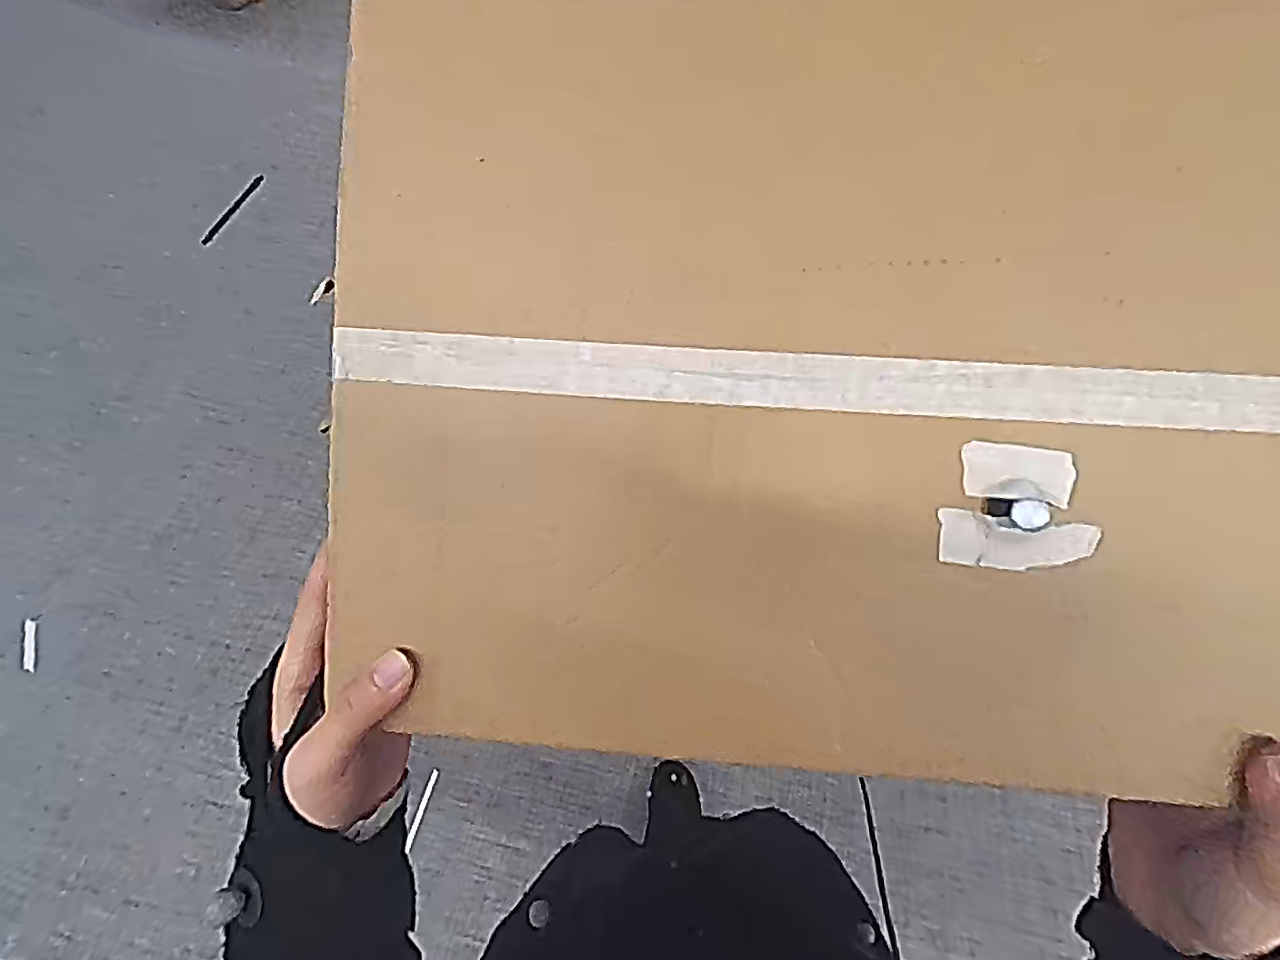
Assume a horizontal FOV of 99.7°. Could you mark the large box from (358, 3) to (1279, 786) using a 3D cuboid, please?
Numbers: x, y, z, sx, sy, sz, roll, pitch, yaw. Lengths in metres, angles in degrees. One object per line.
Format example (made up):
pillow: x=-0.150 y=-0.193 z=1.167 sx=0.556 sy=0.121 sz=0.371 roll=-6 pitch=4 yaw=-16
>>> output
large box: x=0.086 y=-0.039 z=0.371 sx=0.408 sy=0.320 sz=0.320 roll=4 pitch=93 yaw=1
